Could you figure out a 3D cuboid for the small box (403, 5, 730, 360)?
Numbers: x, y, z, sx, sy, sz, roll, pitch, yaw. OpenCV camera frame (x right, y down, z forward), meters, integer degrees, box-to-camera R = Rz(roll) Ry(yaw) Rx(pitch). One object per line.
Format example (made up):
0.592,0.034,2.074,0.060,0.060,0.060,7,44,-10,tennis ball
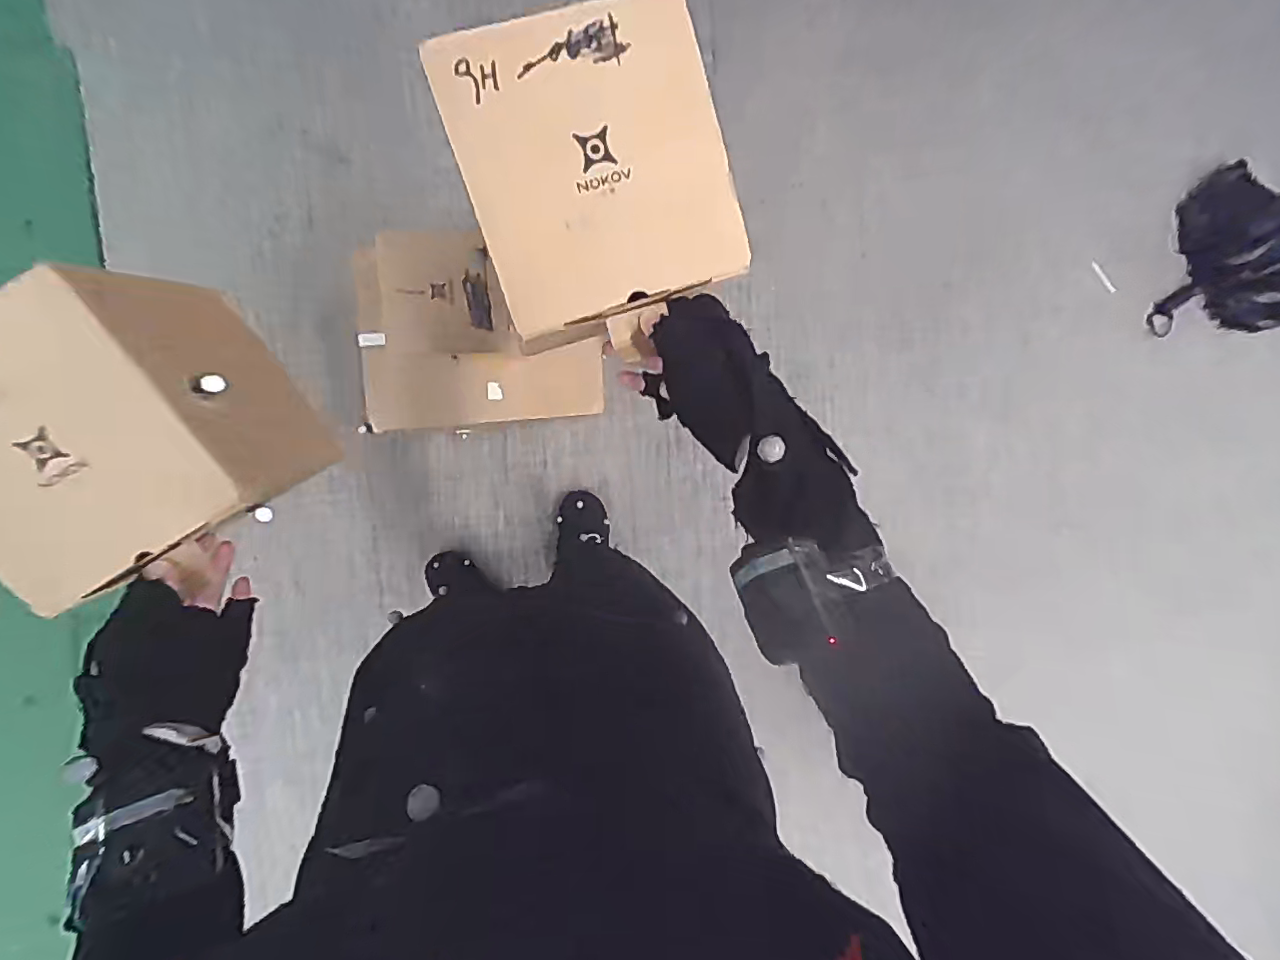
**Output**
-0.051,-0.201,0.420,0.168,0.176,0.179,-20,103,-7,small box

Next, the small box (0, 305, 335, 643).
-0.388,-0.016,0.426,0.168,0.176,0.179,-33,105,3,small box
